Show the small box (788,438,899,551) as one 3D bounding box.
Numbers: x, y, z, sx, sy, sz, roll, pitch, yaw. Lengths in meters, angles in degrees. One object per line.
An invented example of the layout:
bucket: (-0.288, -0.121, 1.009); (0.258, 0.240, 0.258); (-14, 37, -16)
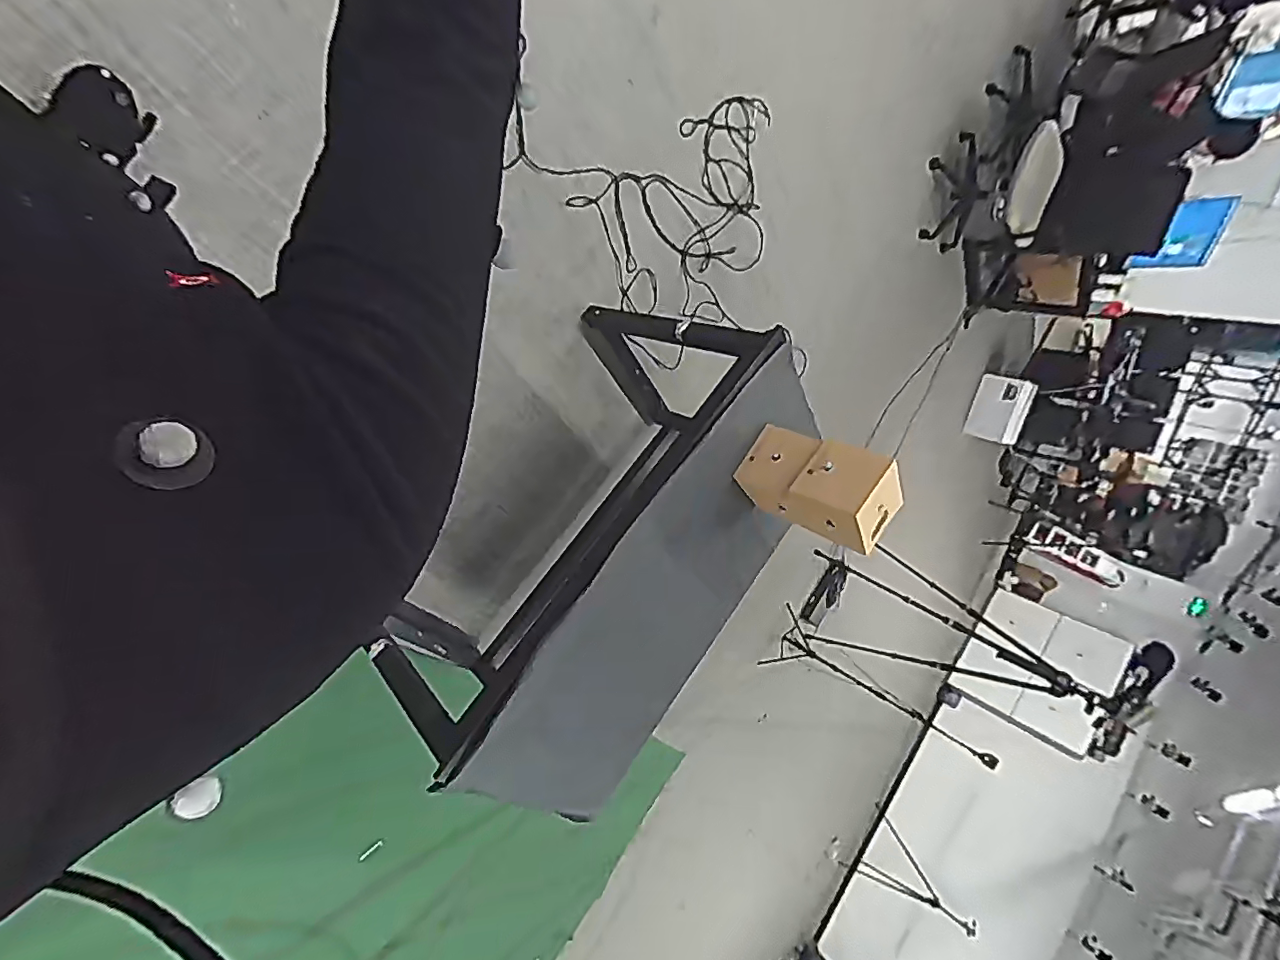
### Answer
small box: (0.468, 0.028, 1.244); (0.168, 0.176, 0.179); (-50, 136, -14)

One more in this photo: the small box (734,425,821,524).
small box: (0.365, -0.020, 1.364); (0.168, 0.176, 0.179); (-55, 138, -8)
